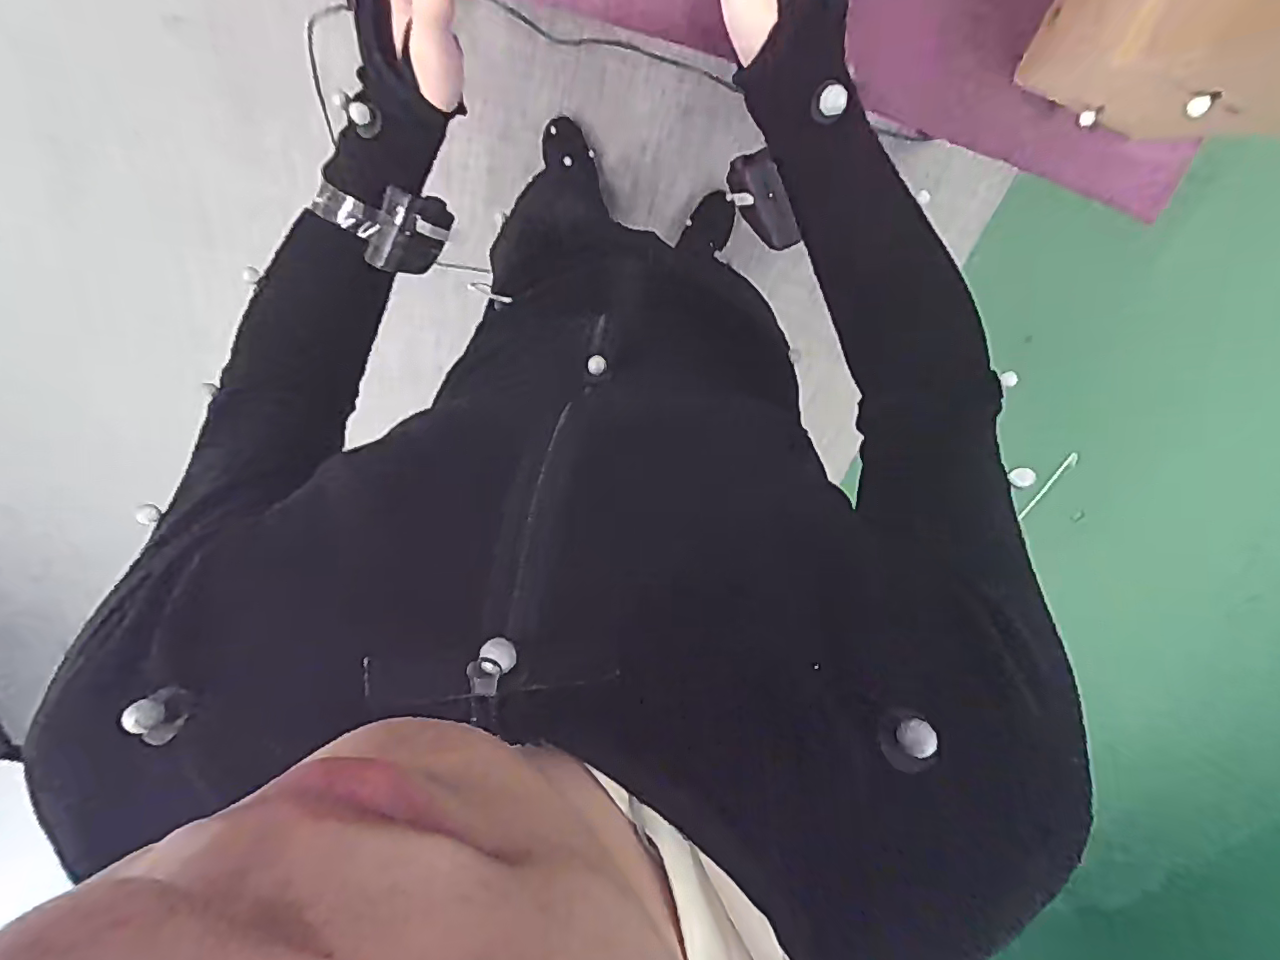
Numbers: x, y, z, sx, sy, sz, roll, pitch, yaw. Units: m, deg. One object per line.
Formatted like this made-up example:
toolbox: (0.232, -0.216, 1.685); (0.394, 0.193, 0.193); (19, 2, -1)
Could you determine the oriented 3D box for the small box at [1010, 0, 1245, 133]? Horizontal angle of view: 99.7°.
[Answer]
small box: (0.526, -0.465, 0.529); (0.179, 0.176, 0.168); (17, 121, -9)
